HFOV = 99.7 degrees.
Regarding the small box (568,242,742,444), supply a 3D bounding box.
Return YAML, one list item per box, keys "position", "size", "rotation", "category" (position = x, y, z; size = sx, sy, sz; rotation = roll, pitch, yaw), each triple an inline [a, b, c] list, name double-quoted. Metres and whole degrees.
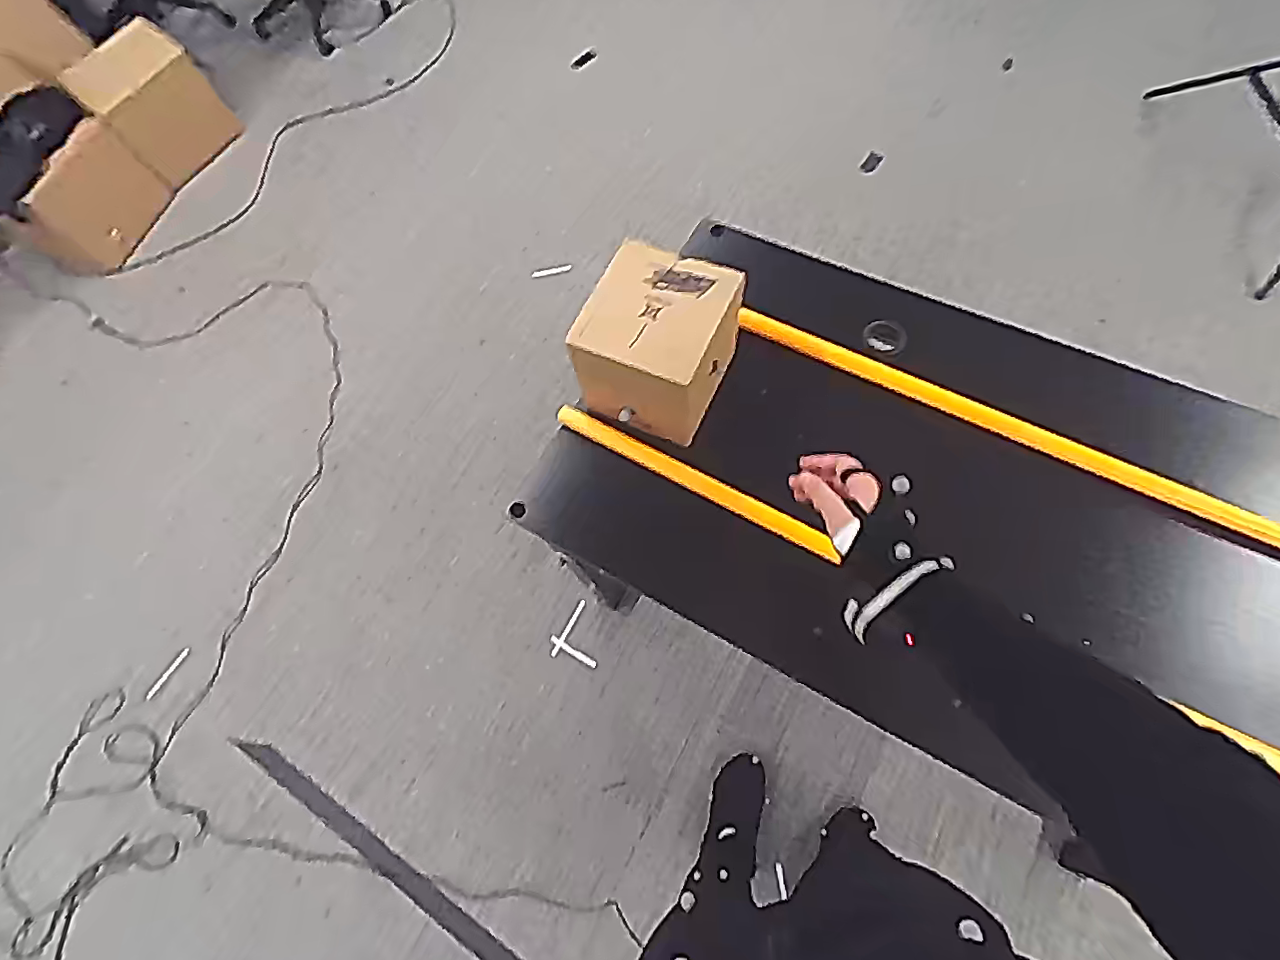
- position: [0.024, -0.179, 0.739]
  size: [0.168, 0.176, 0.179]
  rotation: [22, 72, 13]
  category: "small box"
